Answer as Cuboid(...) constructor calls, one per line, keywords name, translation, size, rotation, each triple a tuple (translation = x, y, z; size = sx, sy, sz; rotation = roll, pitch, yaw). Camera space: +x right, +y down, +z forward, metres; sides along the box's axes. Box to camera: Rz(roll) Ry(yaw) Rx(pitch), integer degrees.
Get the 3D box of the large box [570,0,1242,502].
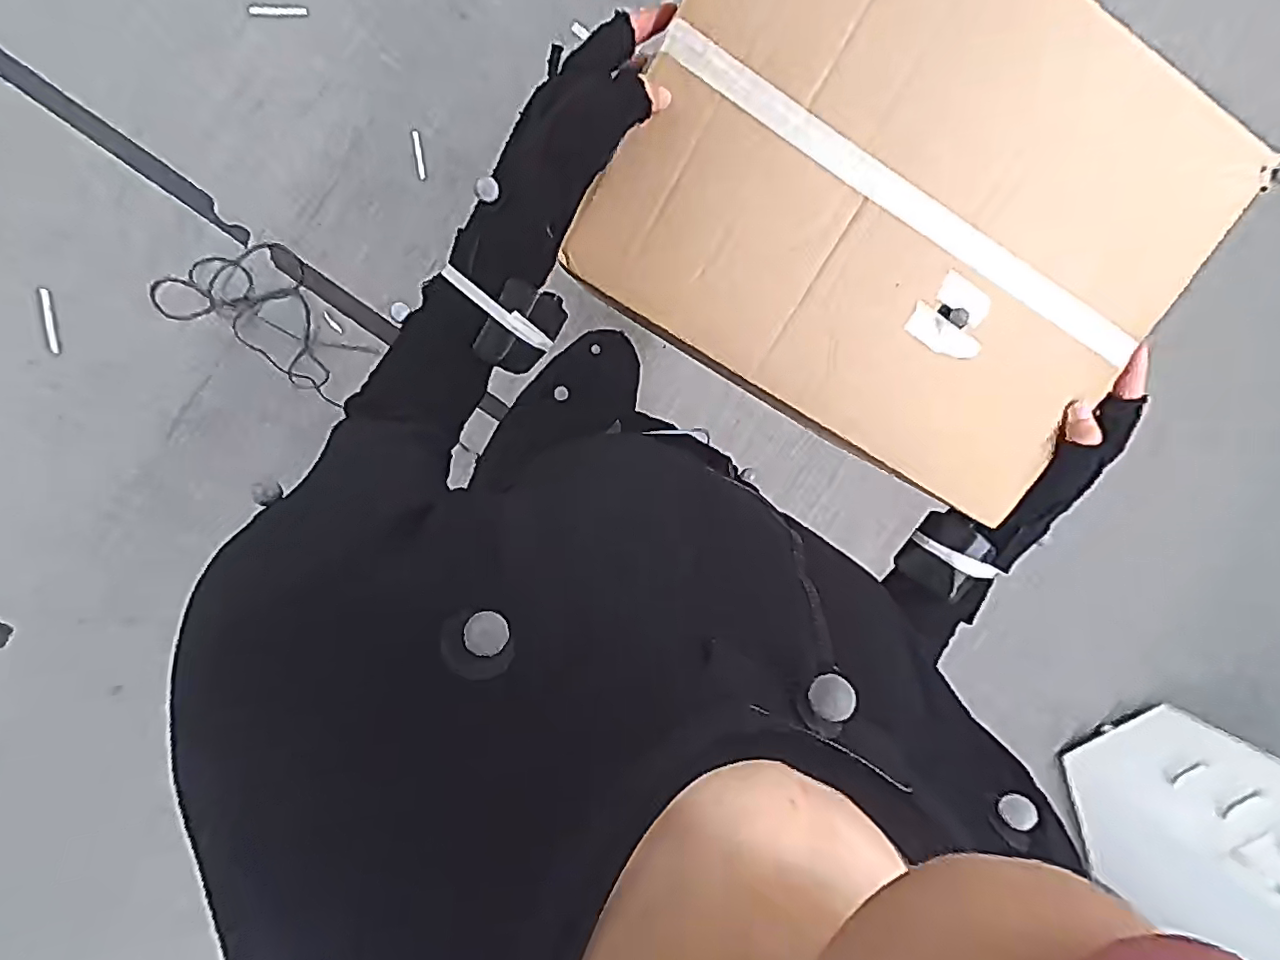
Cuboid(name="large box", translation=(0.185, -0.238, 0.535), size=(0.408, 0.320, 0.320), rotation=(29, 104, -10))
